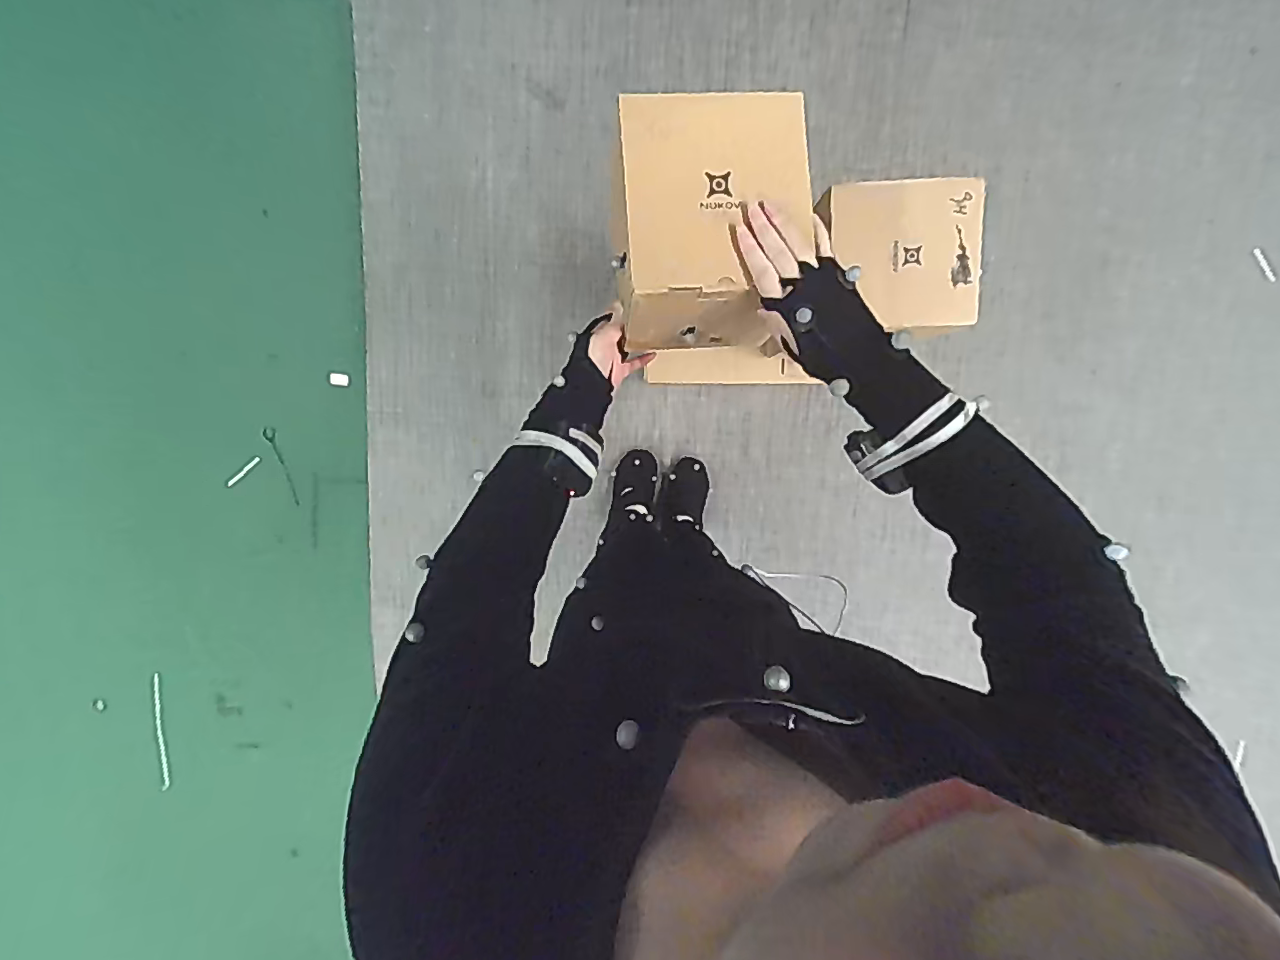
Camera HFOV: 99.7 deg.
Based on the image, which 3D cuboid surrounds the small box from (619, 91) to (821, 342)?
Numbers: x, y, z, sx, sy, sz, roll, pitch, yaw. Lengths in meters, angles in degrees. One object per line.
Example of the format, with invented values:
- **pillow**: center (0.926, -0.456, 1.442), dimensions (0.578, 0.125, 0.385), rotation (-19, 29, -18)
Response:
- **small box**: center (0.068, -0.255, 0.557), dimensions (0.168, 0.176, 0.179), rotation (-4, 87, -5)
